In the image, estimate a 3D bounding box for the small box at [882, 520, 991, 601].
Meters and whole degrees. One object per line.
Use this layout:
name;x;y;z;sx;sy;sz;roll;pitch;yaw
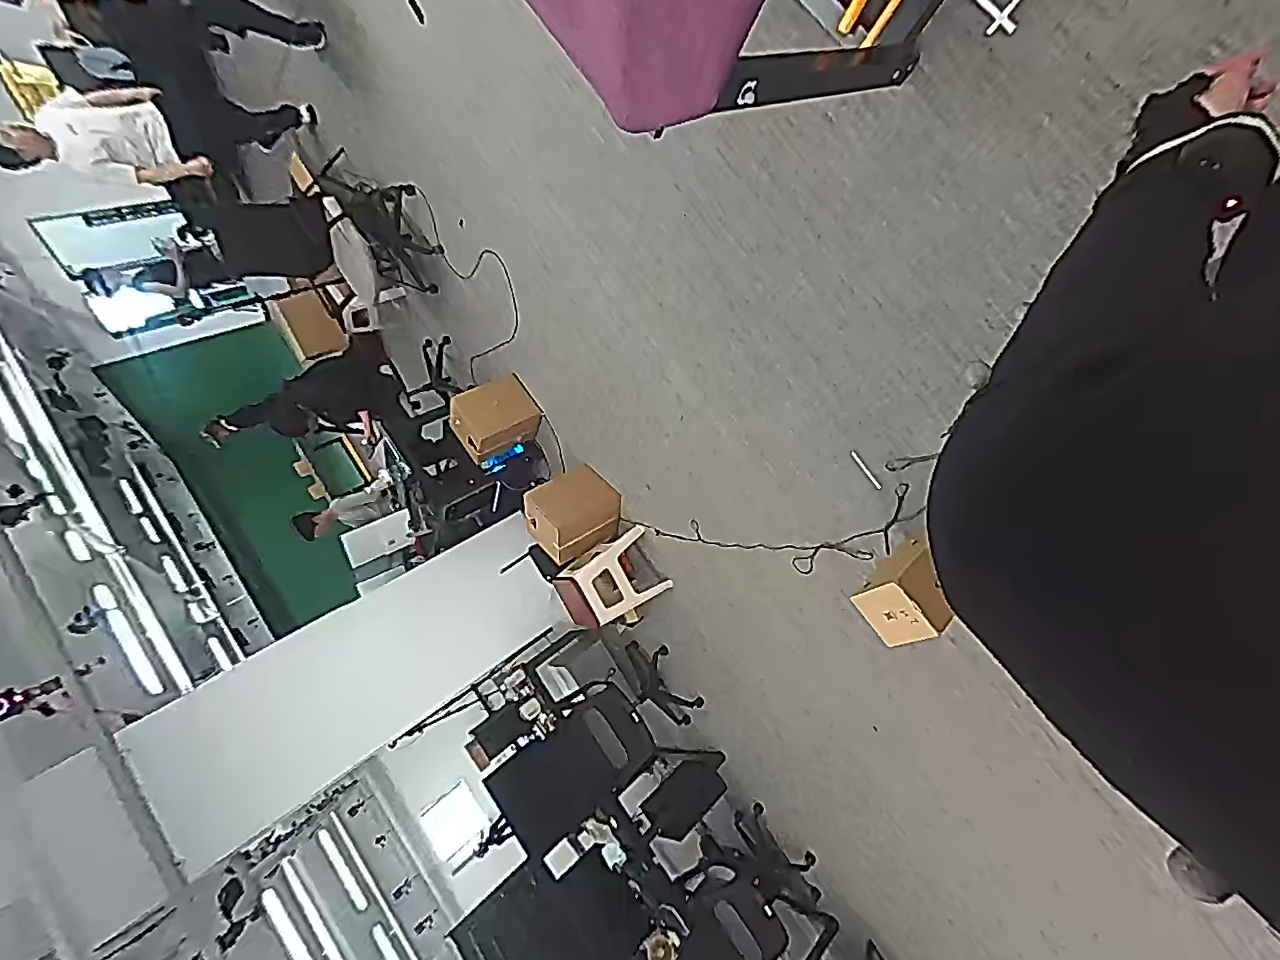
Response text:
small box;0.828;0.238;1.510;0.168;0.176;0.179;54;148;7

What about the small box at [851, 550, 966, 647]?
small box;0.707;0.311;1.424;0.168;0.176;0.179;53;148;9
